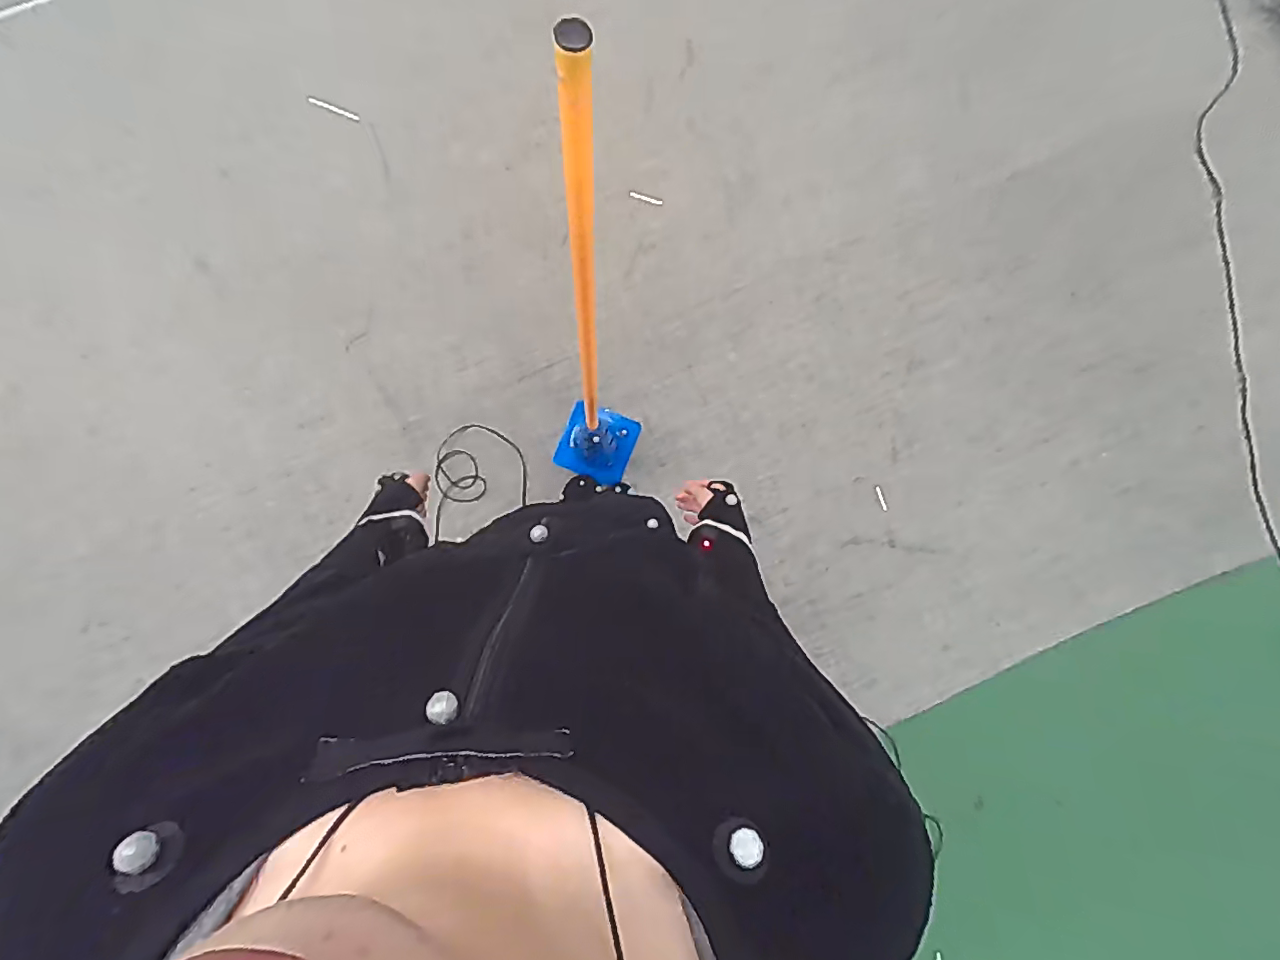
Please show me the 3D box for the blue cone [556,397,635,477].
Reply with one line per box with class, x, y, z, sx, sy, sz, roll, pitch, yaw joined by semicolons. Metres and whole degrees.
blue cone;-0.113;-0.128;1.323;0.192;0.380;0.193;22;86;-3
